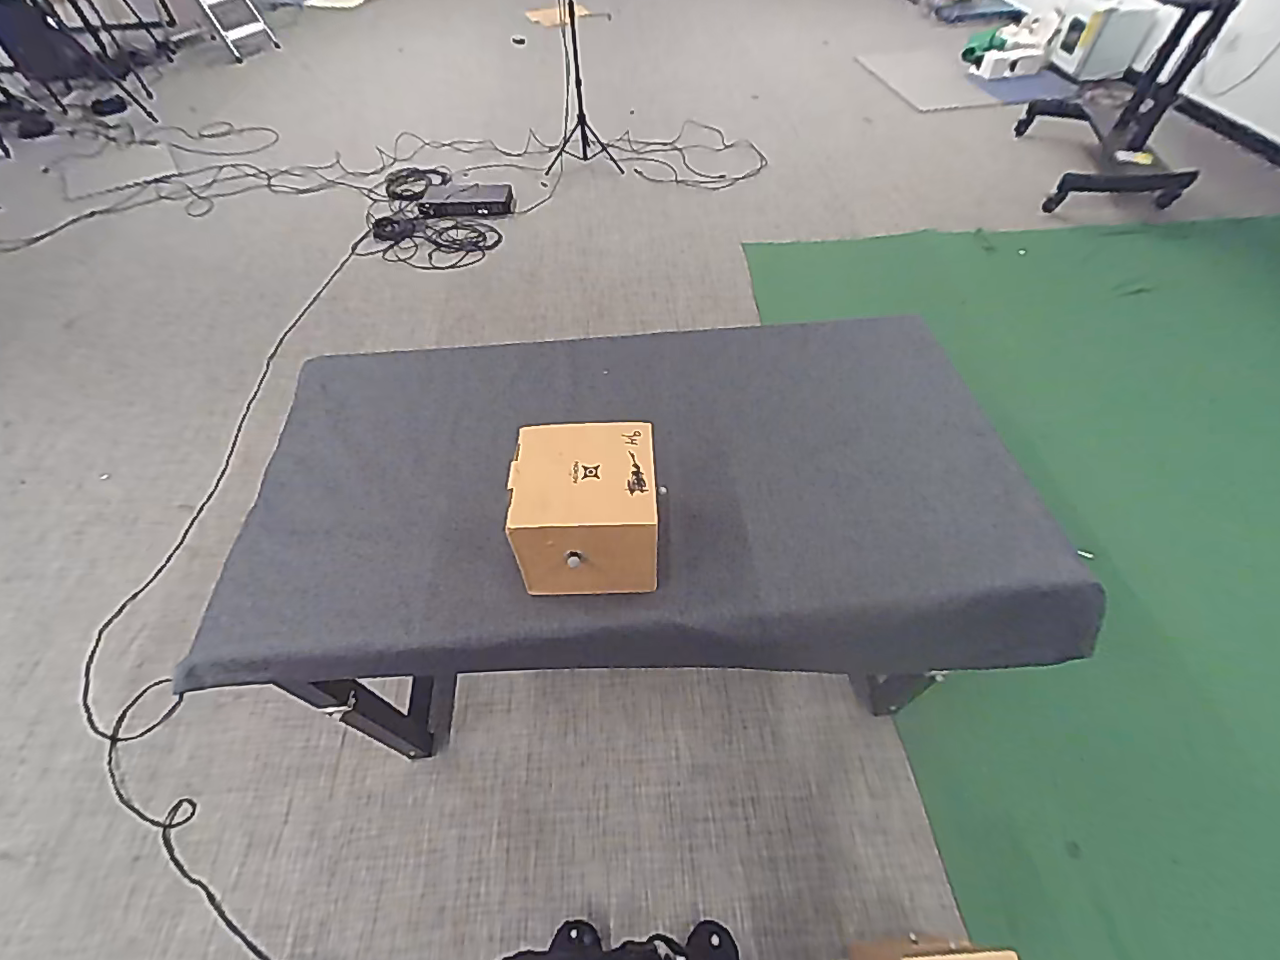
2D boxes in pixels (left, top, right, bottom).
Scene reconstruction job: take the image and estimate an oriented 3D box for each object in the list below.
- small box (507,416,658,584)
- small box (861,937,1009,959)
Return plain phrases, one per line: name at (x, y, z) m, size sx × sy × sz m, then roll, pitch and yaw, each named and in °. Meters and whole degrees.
small box at (-0.066, 0.031, 0.732) m, size 0.179 × 0.176 × 0.168 m, roll -1°, pitch 52°, yaw 0°
small box at (0.470, 0.821, 0.836) m, size 0.179 × 0.176 × 0.168 m, roll -3°, pitch 52°, yaw 0°
